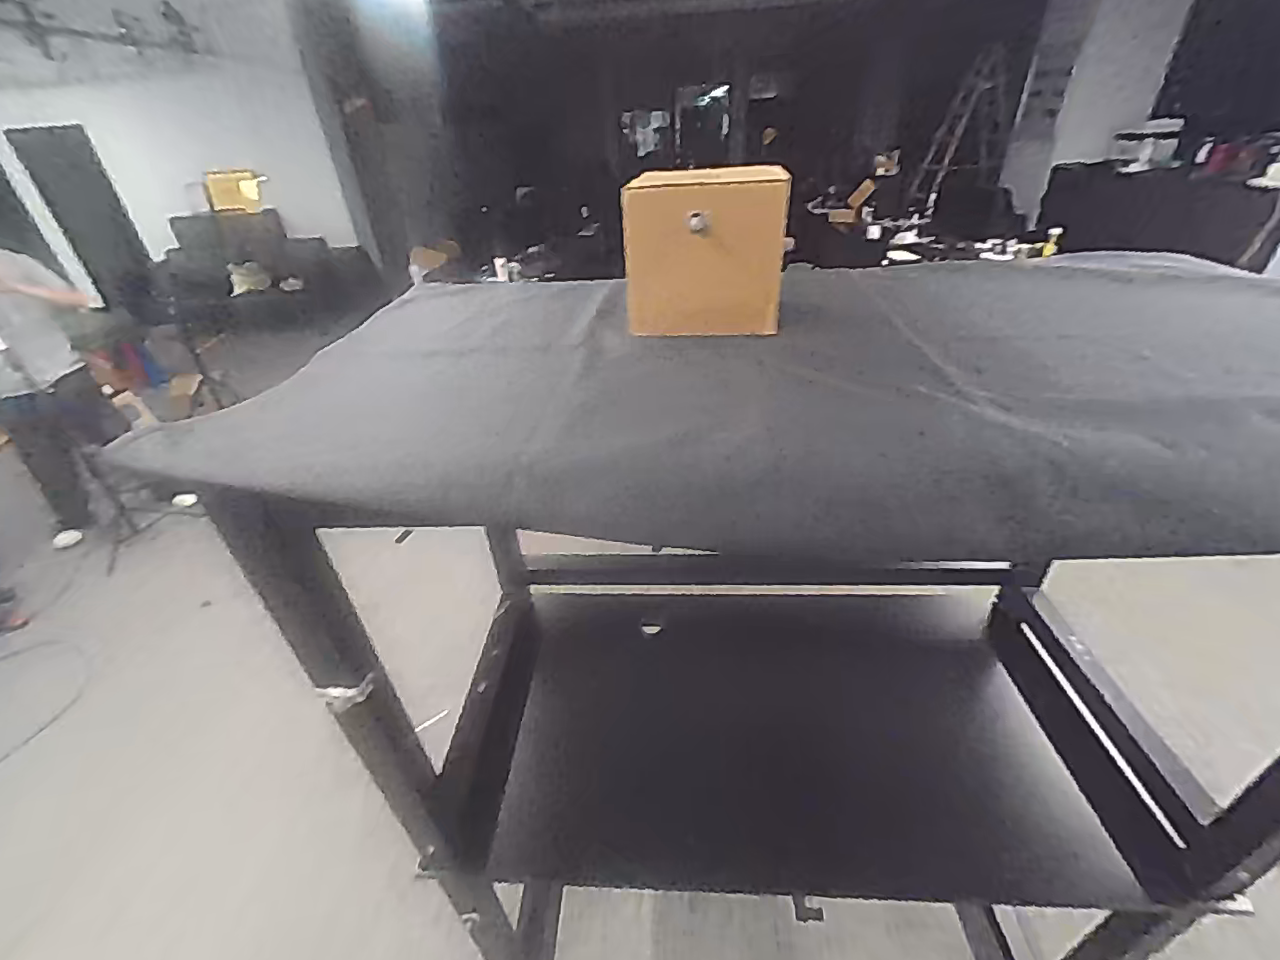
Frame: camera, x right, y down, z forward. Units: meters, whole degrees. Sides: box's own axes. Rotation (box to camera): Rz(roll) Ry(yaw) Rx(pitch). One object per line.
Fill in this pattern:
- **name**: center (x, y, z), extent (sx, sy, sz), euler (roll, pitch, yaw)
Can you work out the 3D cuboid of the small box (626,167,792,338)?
- **small box**: center (0.086, -0.283, 0.674), extent (0.179, 0.176, 0.168), euler (2, 34, 9)
